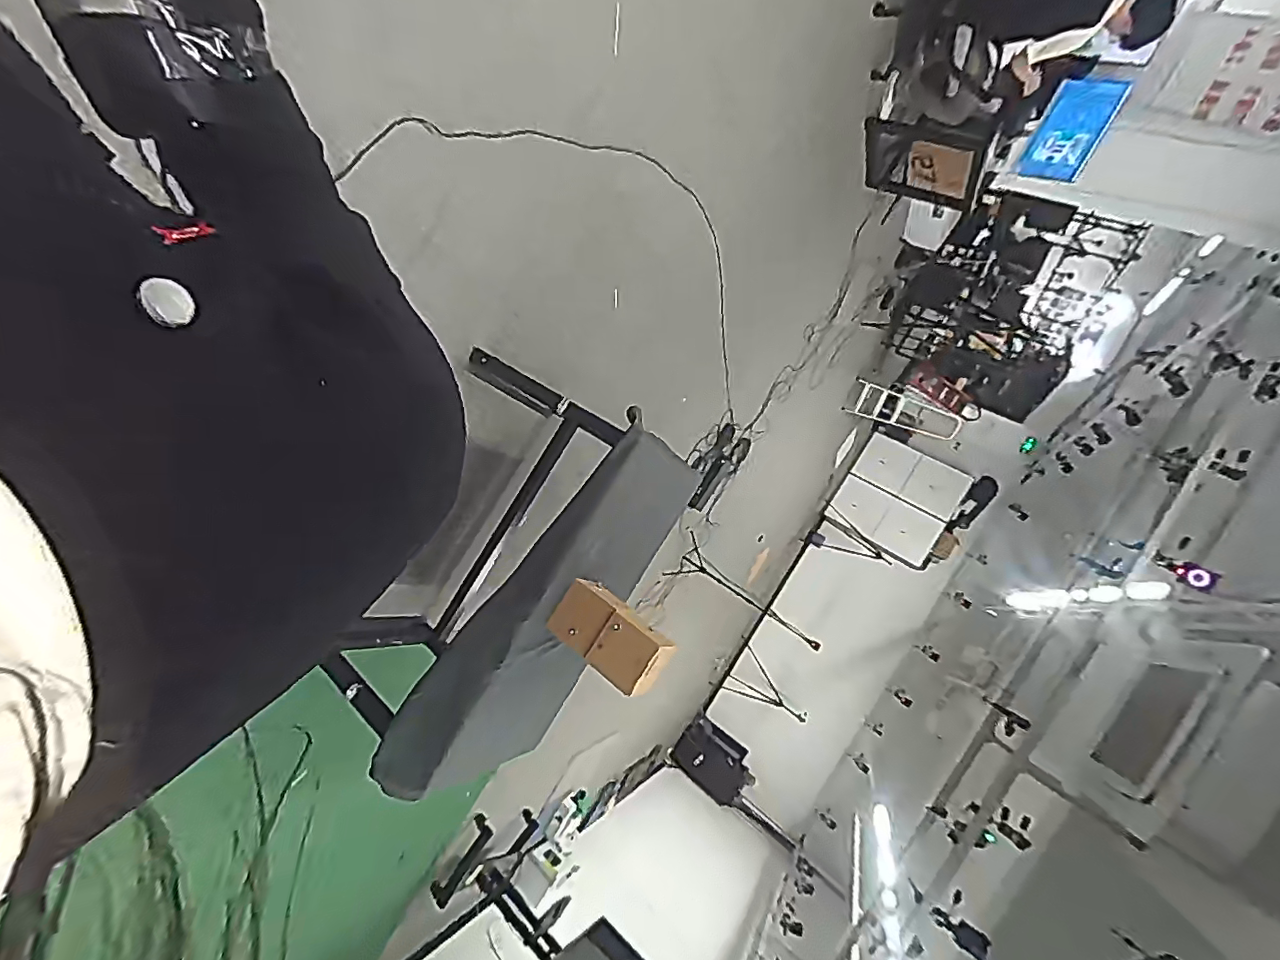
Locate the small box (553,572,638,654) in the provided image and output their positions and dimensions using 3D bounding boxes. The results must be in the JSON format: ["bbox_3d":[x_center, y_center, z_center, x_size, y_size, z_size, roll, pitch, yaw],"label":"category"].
[{"bbox_3d":[-0.140,0.404,1.644,0.179,0.176,0.168,-58,156,-2],"label":"small box"}]

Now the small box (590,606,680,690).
[{"bbox_3d":[-0.015,0.481,1.570,0.168,0.176,0.179,-58,155,1],"label":"small box"}]
